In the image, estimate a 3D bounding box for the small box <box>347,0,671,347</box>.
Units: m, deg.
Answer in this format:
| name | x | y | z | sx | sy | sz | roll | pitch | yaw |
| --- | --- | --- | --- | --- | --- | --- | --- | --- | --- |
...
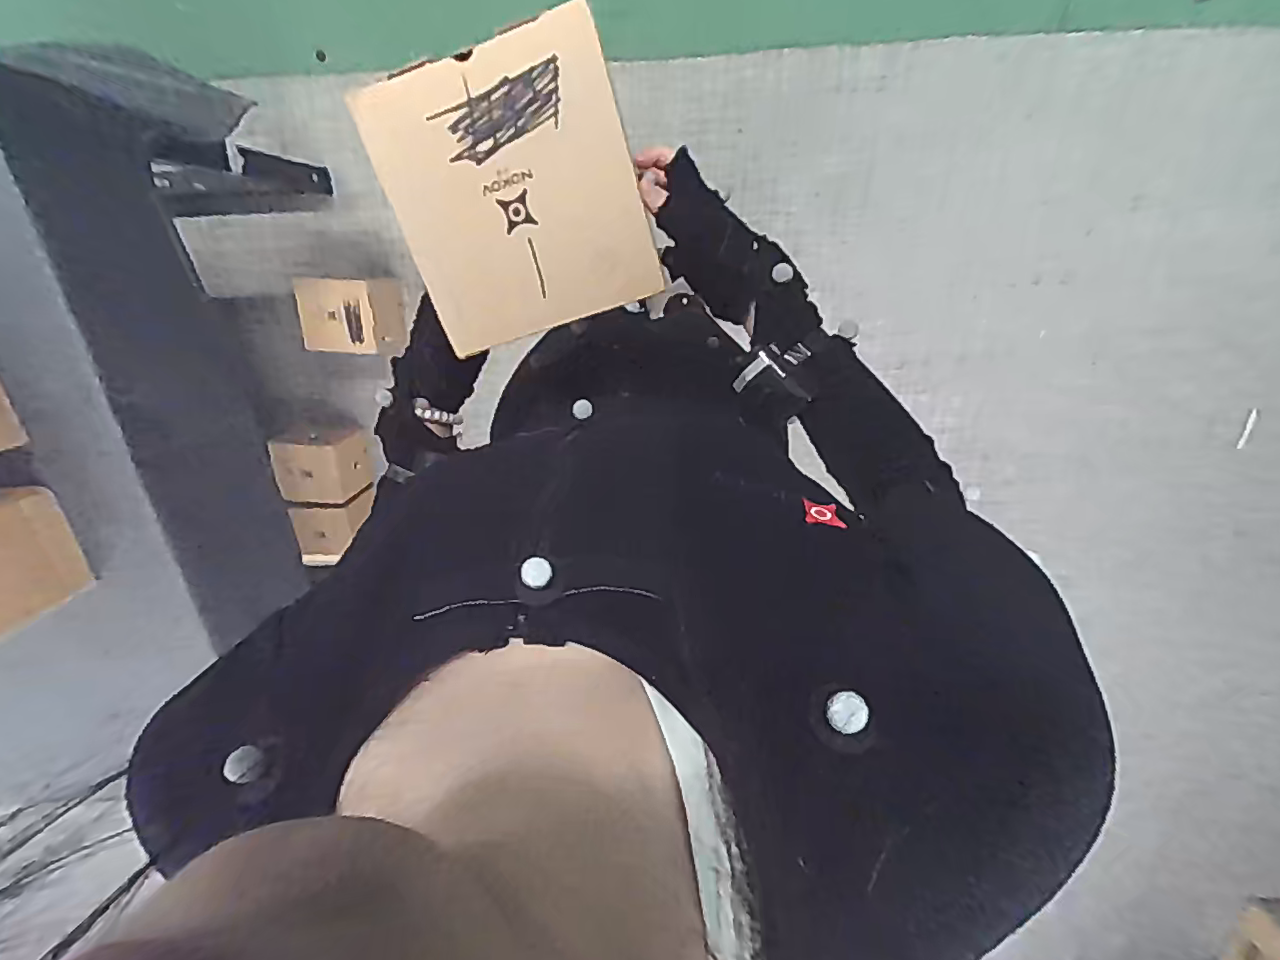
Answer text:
| name | x | y | z | sx | sy | sz | roll | pitch | yaw |
| --- | --- | --- | --- | --- | --- | --- | --- | --- | --- |
| small box | -0.078 | -0.220 | 0.423 | 0.168 | 0.176 | 0.179 | -15 | 112 | 7 |
